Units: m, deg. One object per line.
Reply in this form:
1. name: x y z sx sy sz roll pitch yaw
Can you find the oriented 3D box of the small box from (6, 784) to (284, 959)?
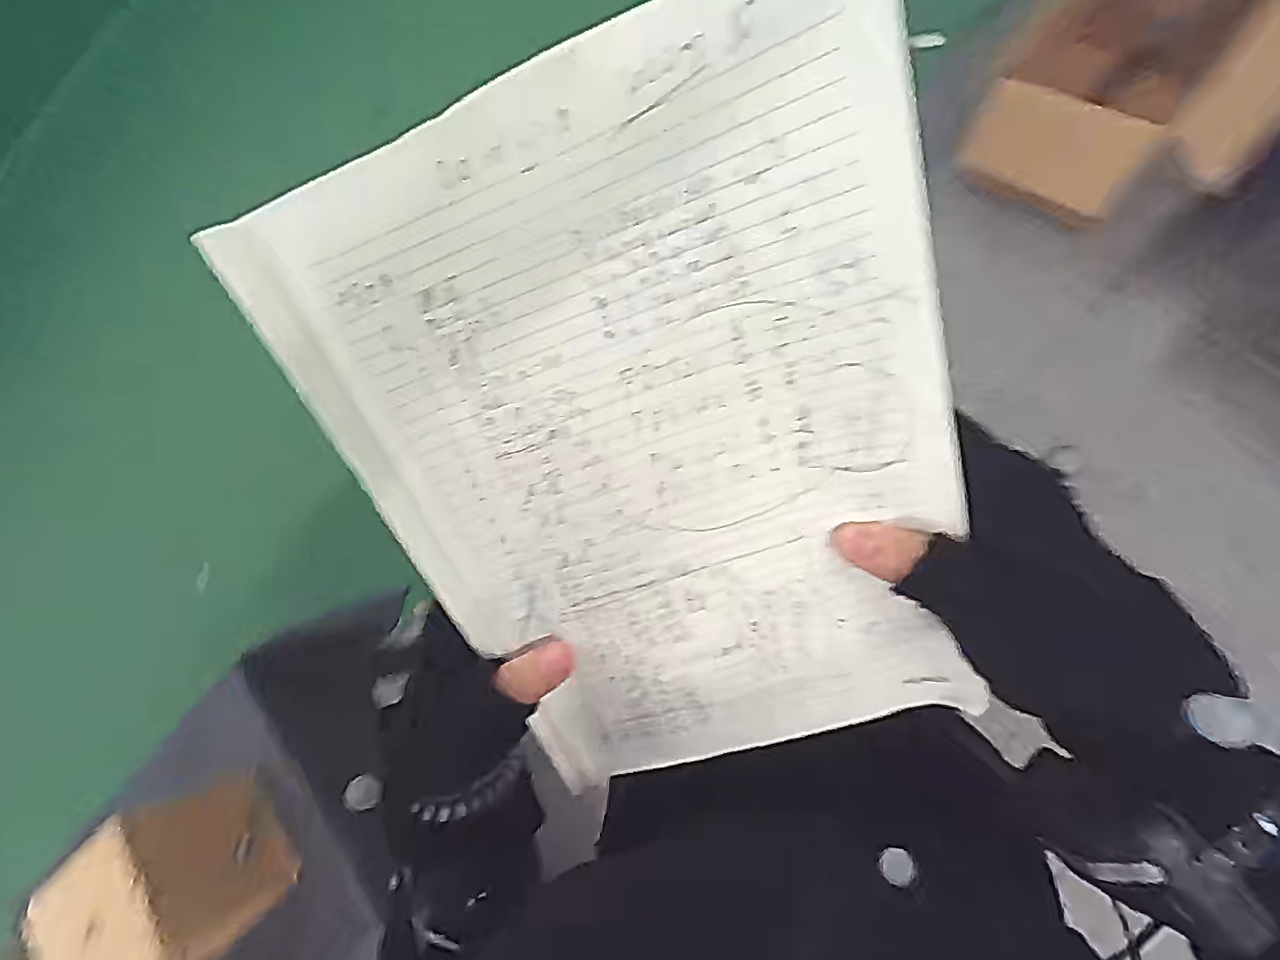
1. small box: -0.592 0.521 0.662 0.179 0.176 0.168 -44 72 5
